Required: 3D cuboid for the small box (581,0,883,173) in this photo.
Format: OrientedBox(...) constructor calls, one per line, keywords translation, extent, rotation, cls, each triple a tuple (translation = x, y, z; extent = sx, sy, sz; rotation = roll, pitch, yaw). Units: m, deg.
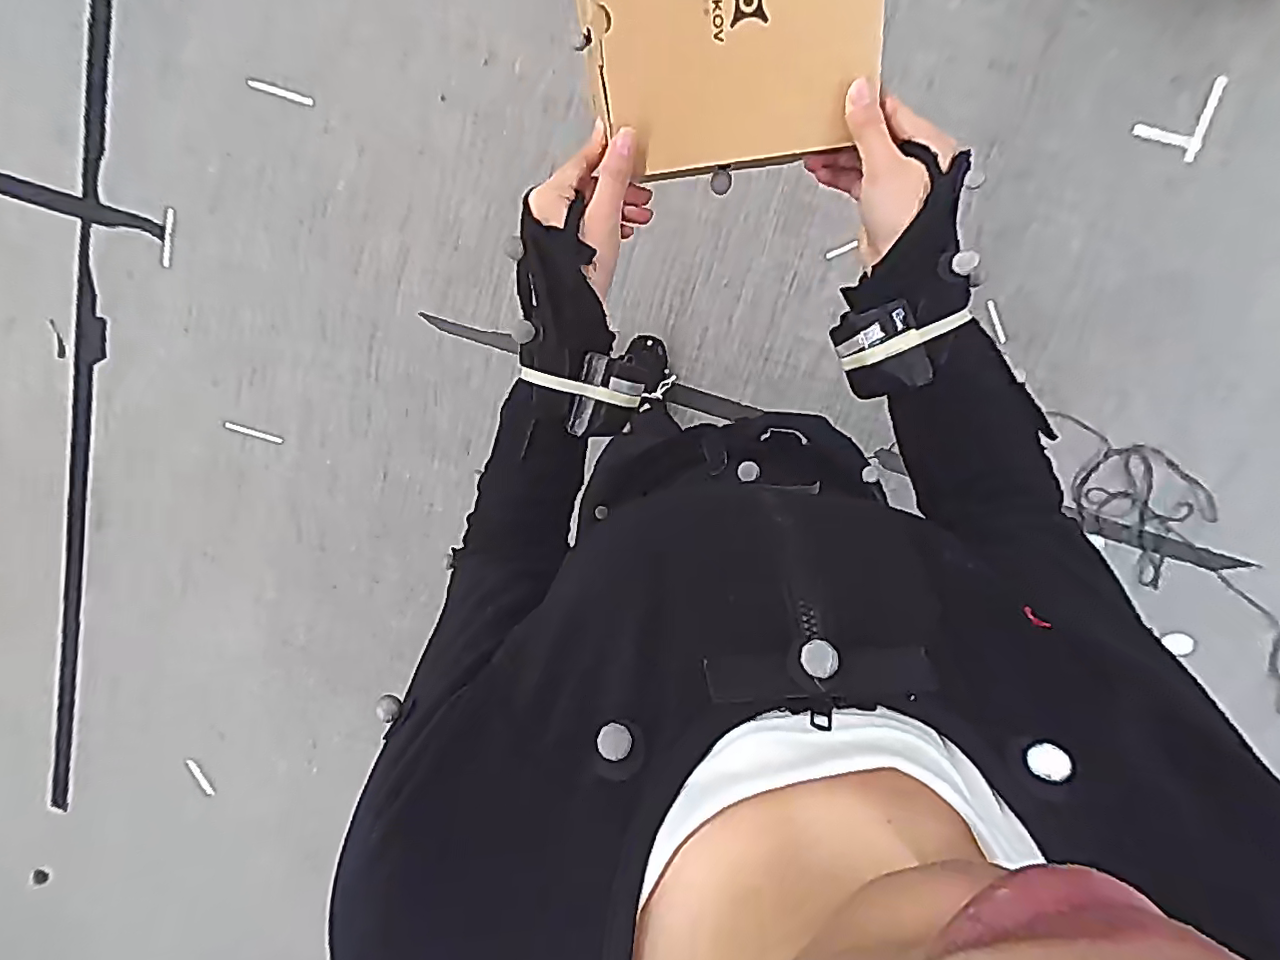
OrientedBox(translation=(0.051, -0.324, 0.384), extent=(0.179, 0.176, 0.168), rotation=(-8, 117, 0), cls="small box")
